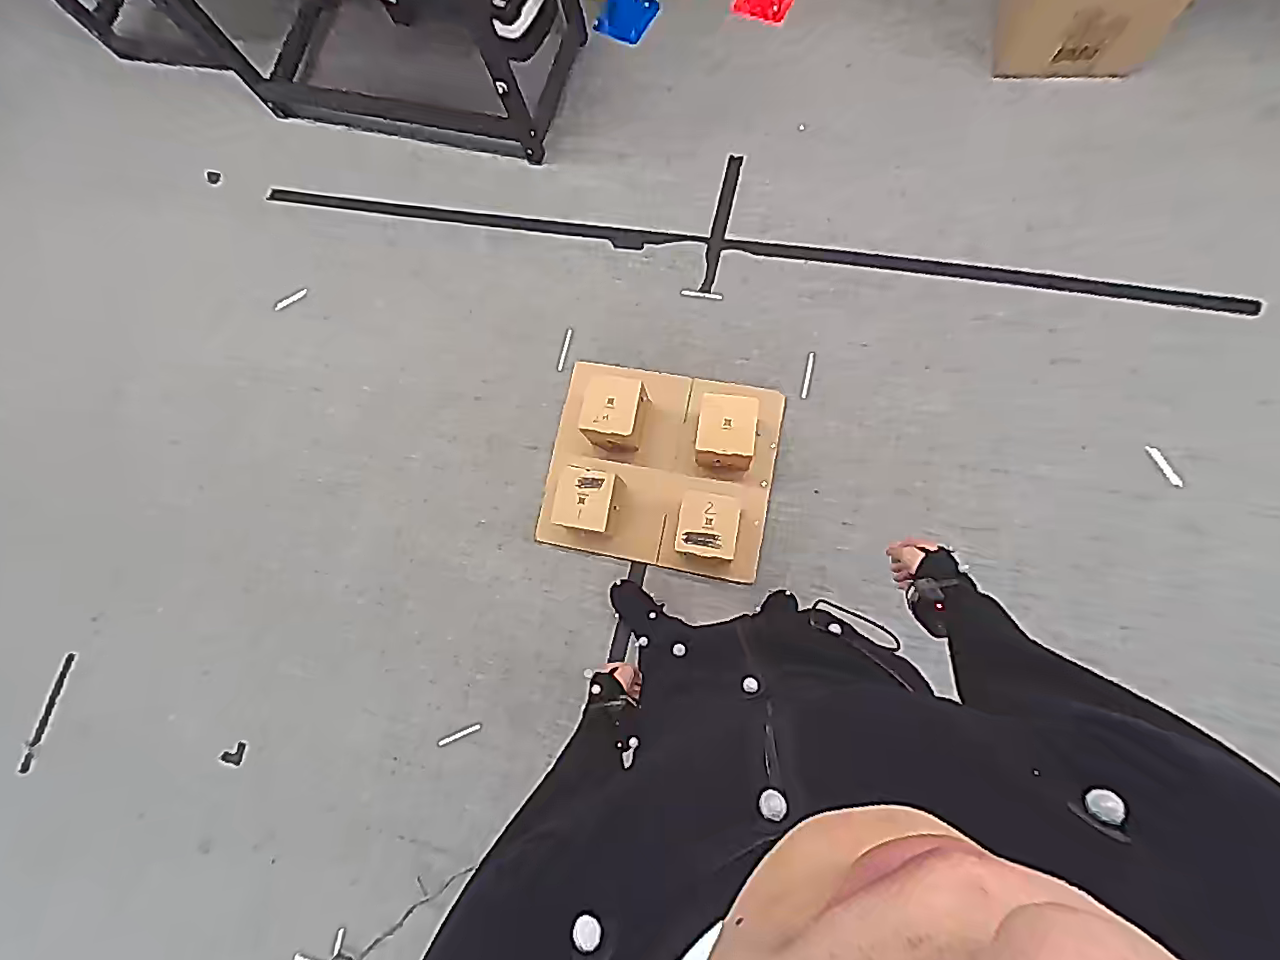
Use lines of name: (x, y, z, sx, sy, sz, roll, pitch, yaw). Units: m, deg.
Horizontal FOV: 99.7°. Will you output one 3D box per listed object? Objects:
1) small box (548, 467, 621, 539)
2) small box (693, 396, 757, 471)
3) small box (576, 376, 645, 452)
small box: (-0.159, 0.073, 1.621, 0.168, 0.176, 0.179, 9, 81, 10)
small box: (0.250, -0.135, 1.614, 0.168, 0.176, 0.179, 6, 80, 9)
small box: (-0.084, -0.199, 1.663, 0.168, 0.176, 0.179, 10, 81, 10)
